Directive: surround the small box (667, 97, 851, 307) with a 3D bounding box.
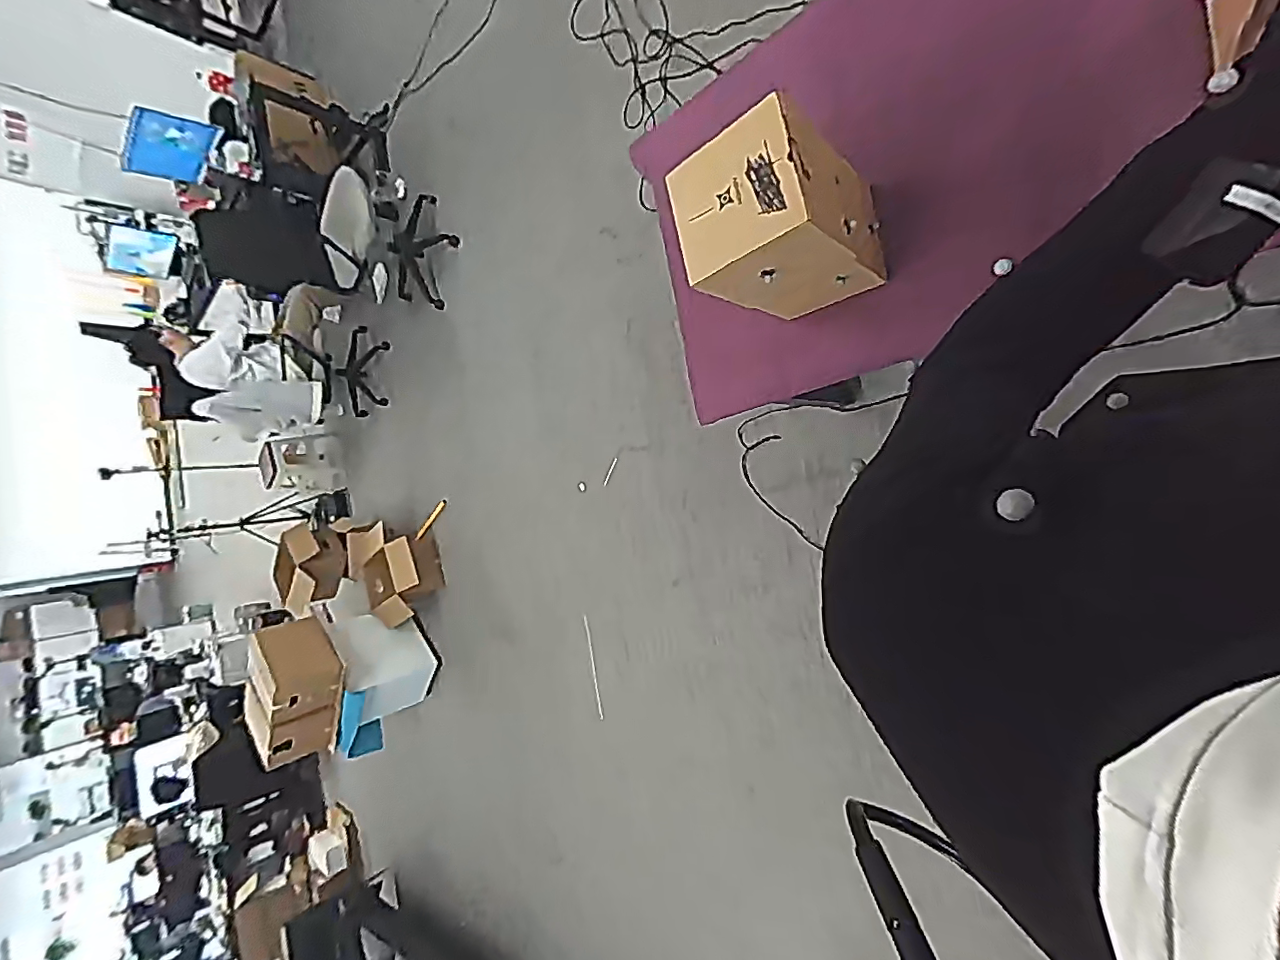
[{"bbox_3d":[0.167,-0.355,0.732,0.179,0.176,0.168,-17,83,40],"label":"small box"}]

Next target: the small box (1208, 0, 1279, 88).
[{"bbox_3d":[0.670,-0.524,0.505,0.179,0.176,0.168,-7,90,42],"label":"small box"}]
